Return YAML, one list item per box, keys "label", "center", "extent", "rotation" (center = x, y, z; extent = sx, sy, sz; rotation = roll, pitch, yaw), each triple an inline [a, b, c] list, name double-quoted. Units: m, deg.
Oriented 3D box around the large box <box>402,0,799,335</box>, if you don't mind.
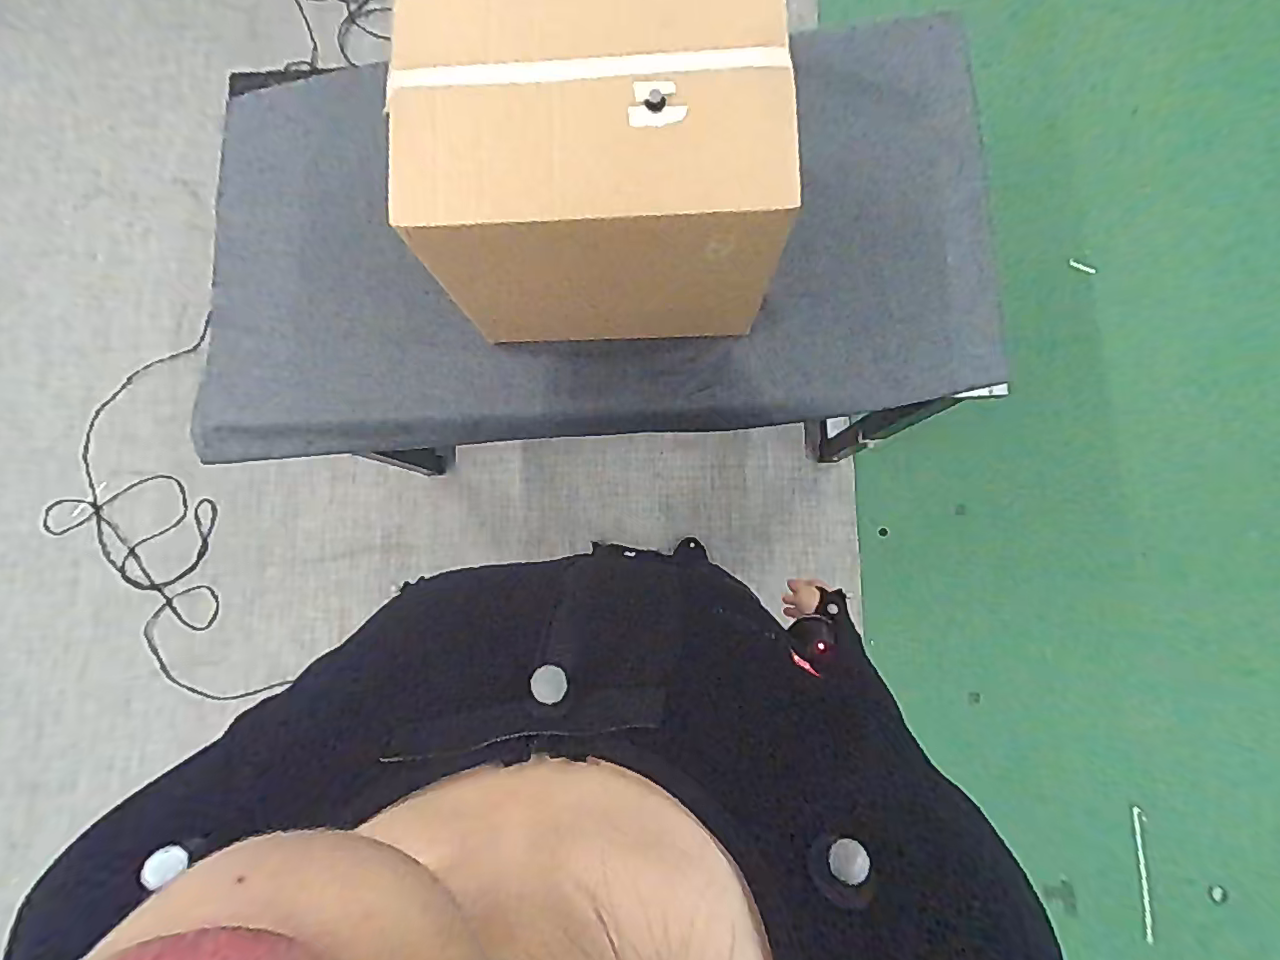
- label: "large box"
  center: [-0.044, -0.400, 0.702]
  extent: [0.408, 0.320, 0.320]
  rotation: [-2, 84, 1]
